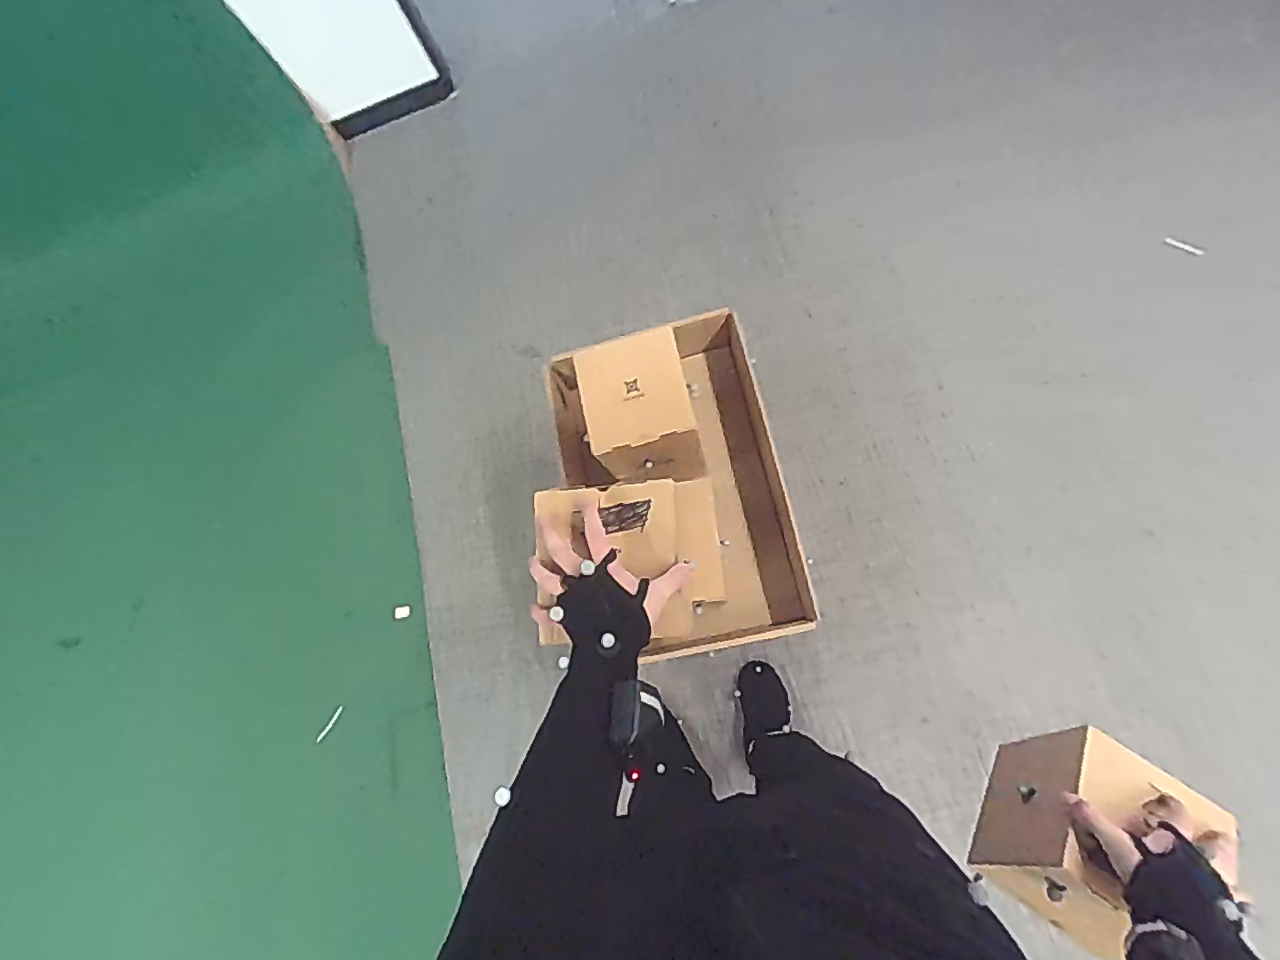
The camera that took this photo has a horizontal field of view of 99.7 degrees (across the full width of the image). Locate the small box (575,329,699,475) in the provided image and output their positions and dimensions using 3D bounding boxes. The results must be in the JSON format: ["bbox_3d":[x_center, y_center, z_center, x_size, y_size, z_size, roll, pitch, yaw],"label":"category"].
[{"bbox_3d":[0.001,-0.124,0.918,0.168,0.176,0.179,-14,77,6],"label":"small box"}]

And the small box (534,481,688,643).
[{"bbox_3d":[-0.030,0.108,0.688,0.168,0.176,0.179,-5,78,7],"label":"small box"}]

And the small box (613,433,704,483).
[{"bbox_3d":[0.028,-0.093,1.074,0.168,0.176,0.179,-14,76,7],"label":"small box"}]

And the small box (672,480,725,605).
[{"bbox_3d":[0.042,0.110,0.852,0.168,0.176,0.179,-7,75,8],"label":"small box"}]
